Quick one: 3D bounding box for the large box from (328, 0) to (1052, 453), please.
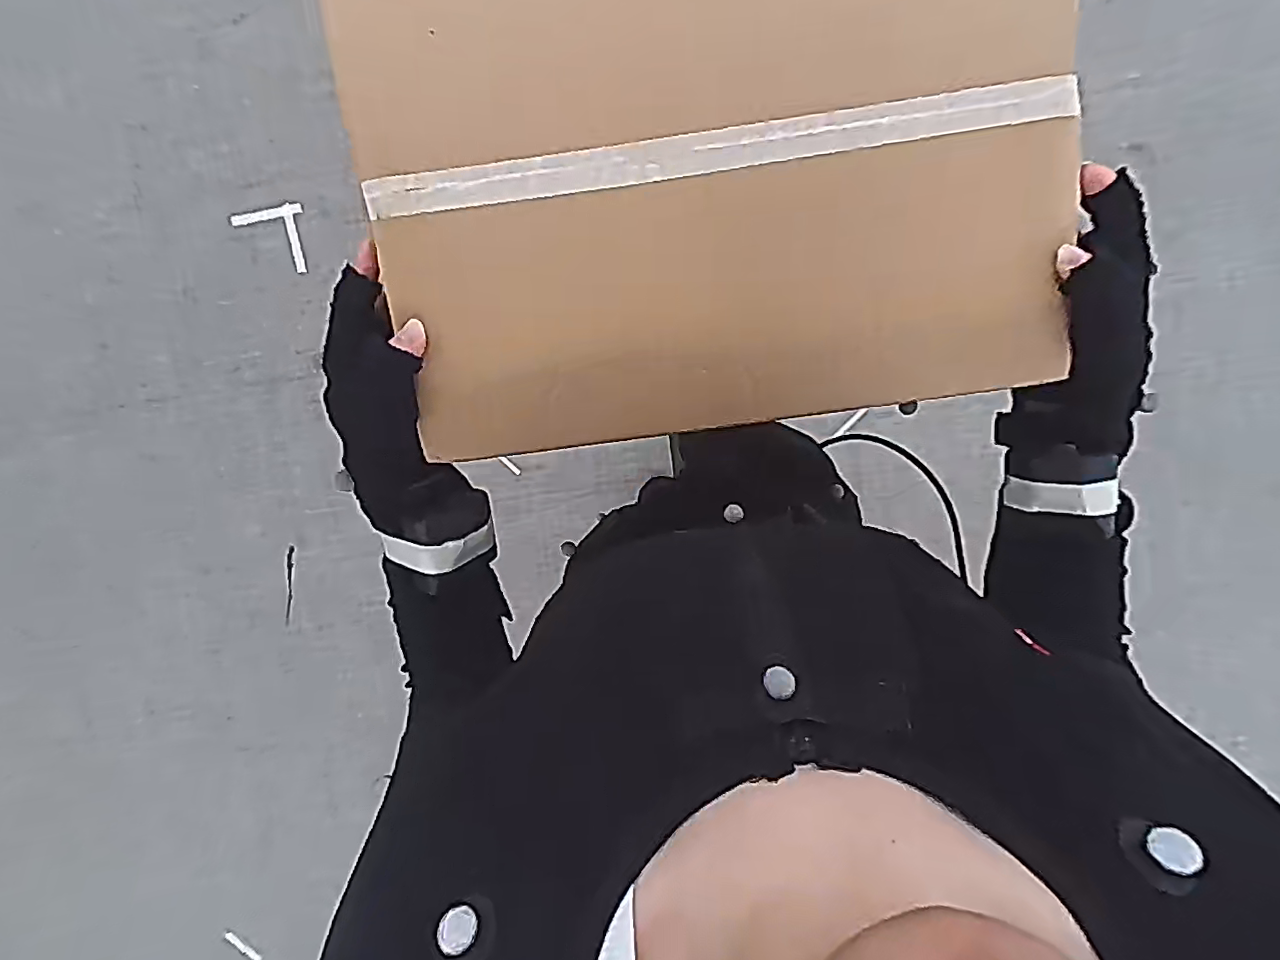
[{"bbox_3d":[0.039,-0.227,0.462,0.408,0.320,0.320,-8,102,1],"label":"large box"}]
